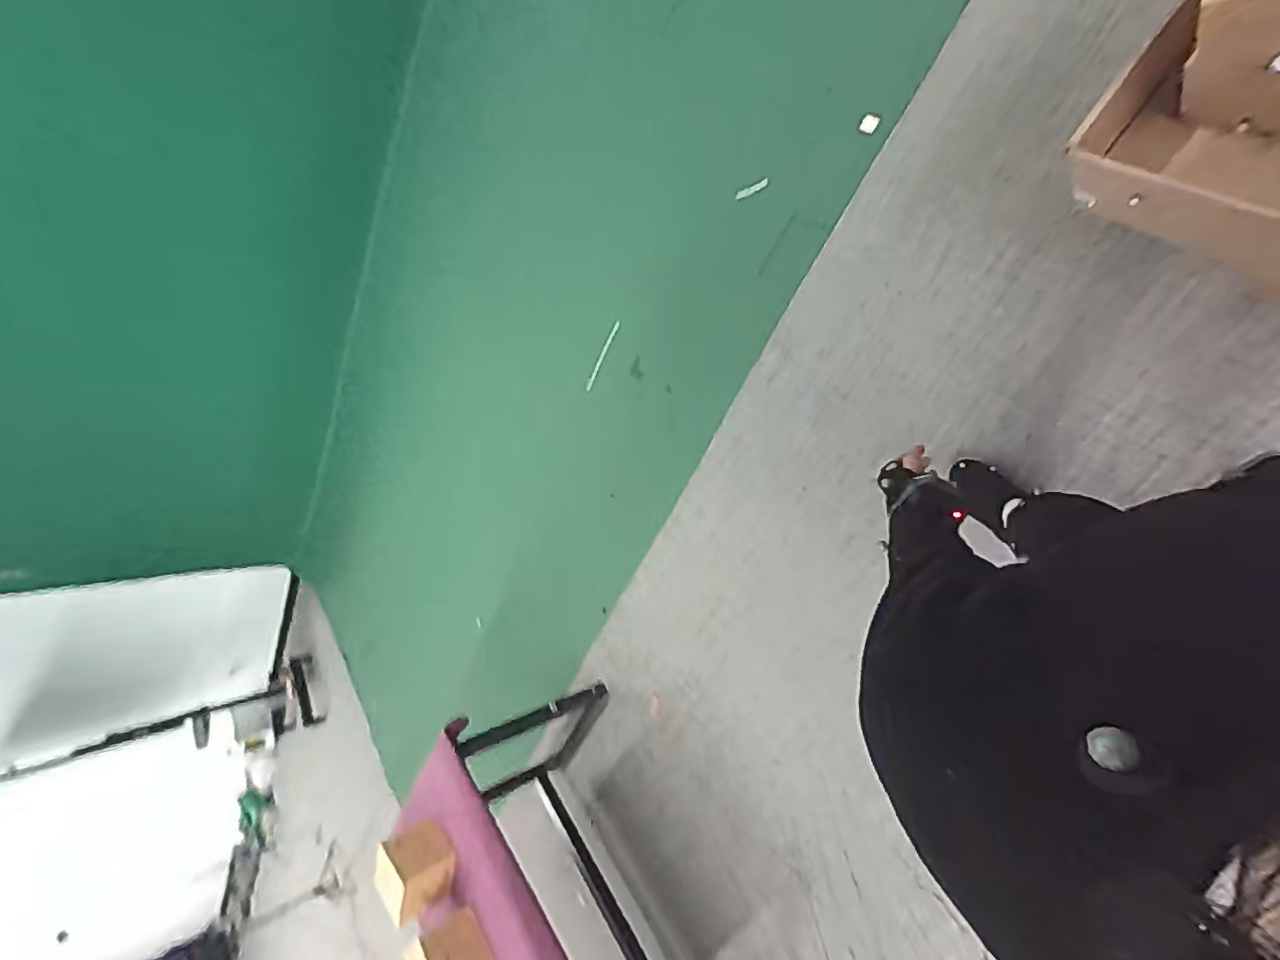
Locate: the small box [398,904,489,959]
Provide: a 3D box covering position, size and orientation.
[{"bbox_3d":[-0.549,1.360,1.523,0.179,0.176,0.168,50,121,30],"label":"small box"}]

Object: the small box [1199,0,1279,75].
[{"bbox_3d":[0.700,-0.548,0.534,0.168,0.176,0.179,27,110,40],"label":"small box"}]

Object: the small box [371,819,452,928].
[{"bbox_3d":[-0.695,1.189,1.651,0.179,0.176,0.168,23,107,40],"label":"small box"}]
